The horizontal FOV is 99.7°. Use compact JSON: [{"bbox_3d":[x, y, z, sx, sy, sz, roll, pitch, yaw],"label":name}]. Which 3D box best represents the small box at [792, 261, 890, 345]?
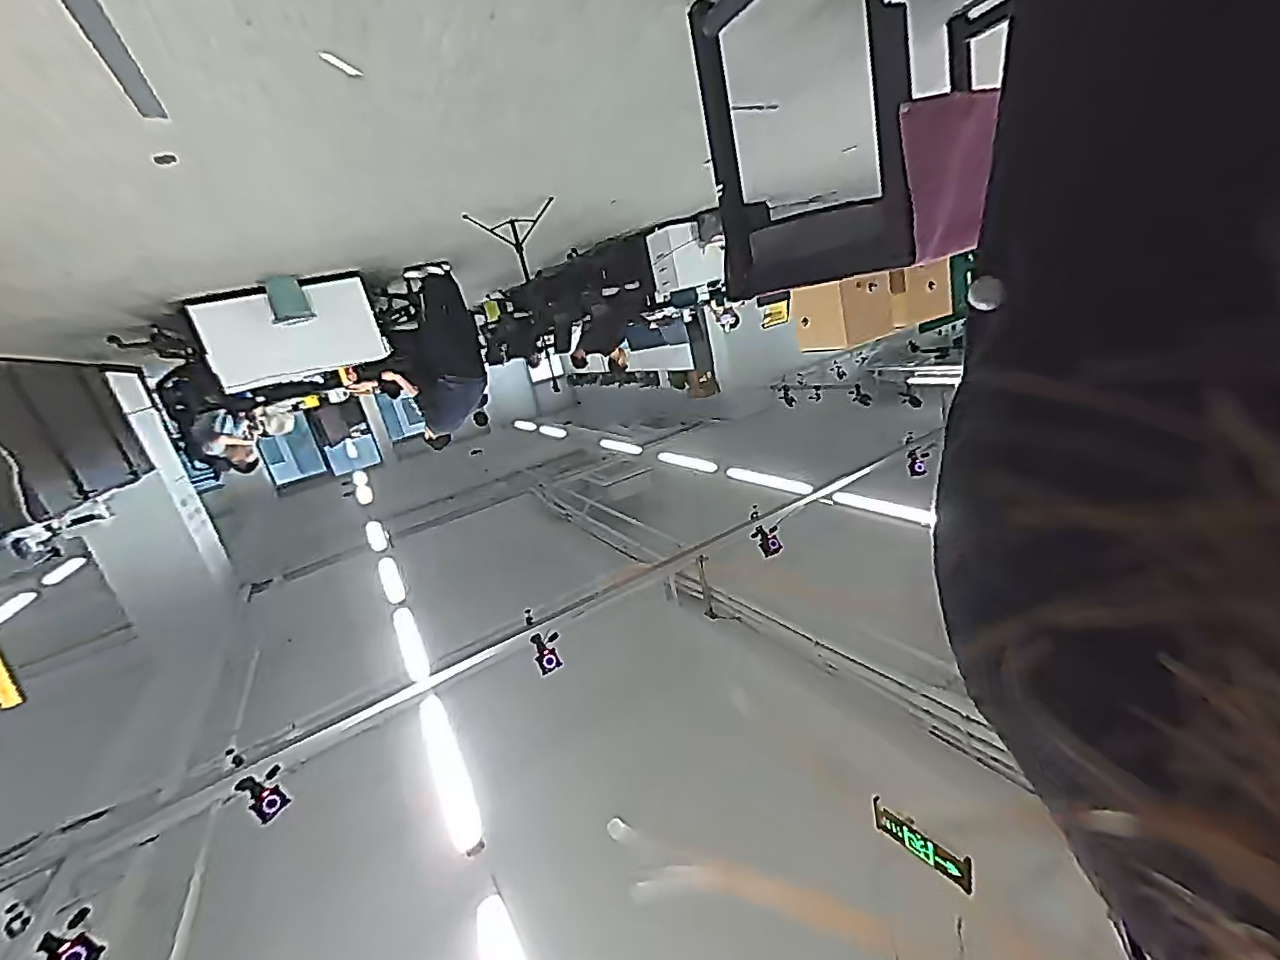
[{"bbox_3d":[0.509,-0.453,1.385,0.168,0.176,0.179,-23,-160,-20],"label":"small box"}]

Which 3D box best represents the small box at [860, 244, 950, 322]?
[{"bbox_3d":[0.711,-0.536,1.481,0.168,0.176,0.179,-20,-161,-19],"label":"small box"}]
